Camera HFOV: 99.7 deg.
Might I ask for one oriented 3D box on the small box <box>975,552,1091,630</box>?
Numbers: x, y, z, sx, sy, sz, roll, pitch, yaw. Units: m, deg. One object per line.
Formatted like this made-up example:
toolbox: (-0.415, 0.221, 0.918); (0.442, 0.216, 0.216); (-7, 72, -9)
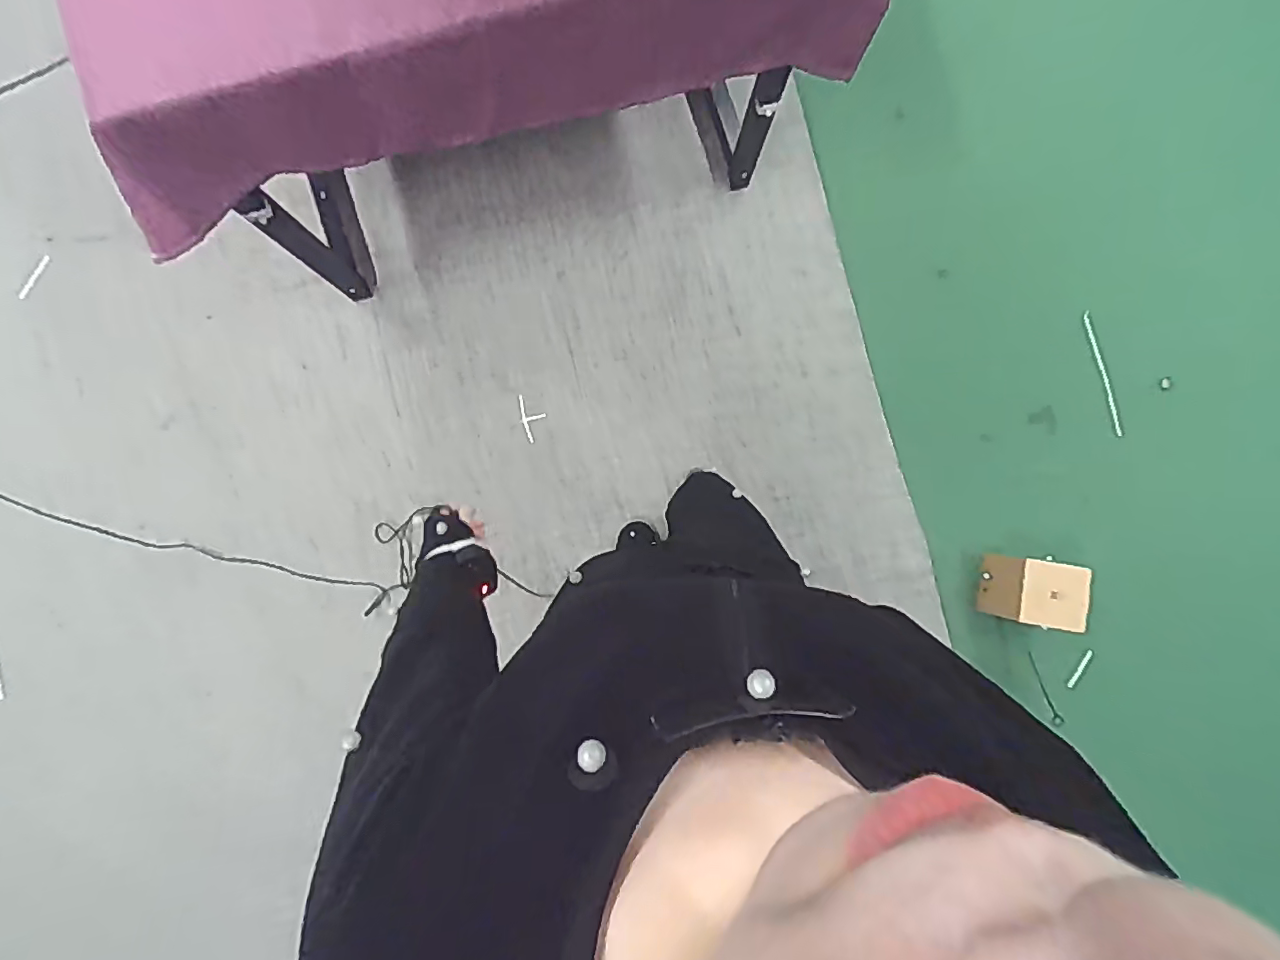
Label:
small box: (1.042, 0.288, 1.443); (0.179, 0.176, 0.168); (10, 86, -1)
